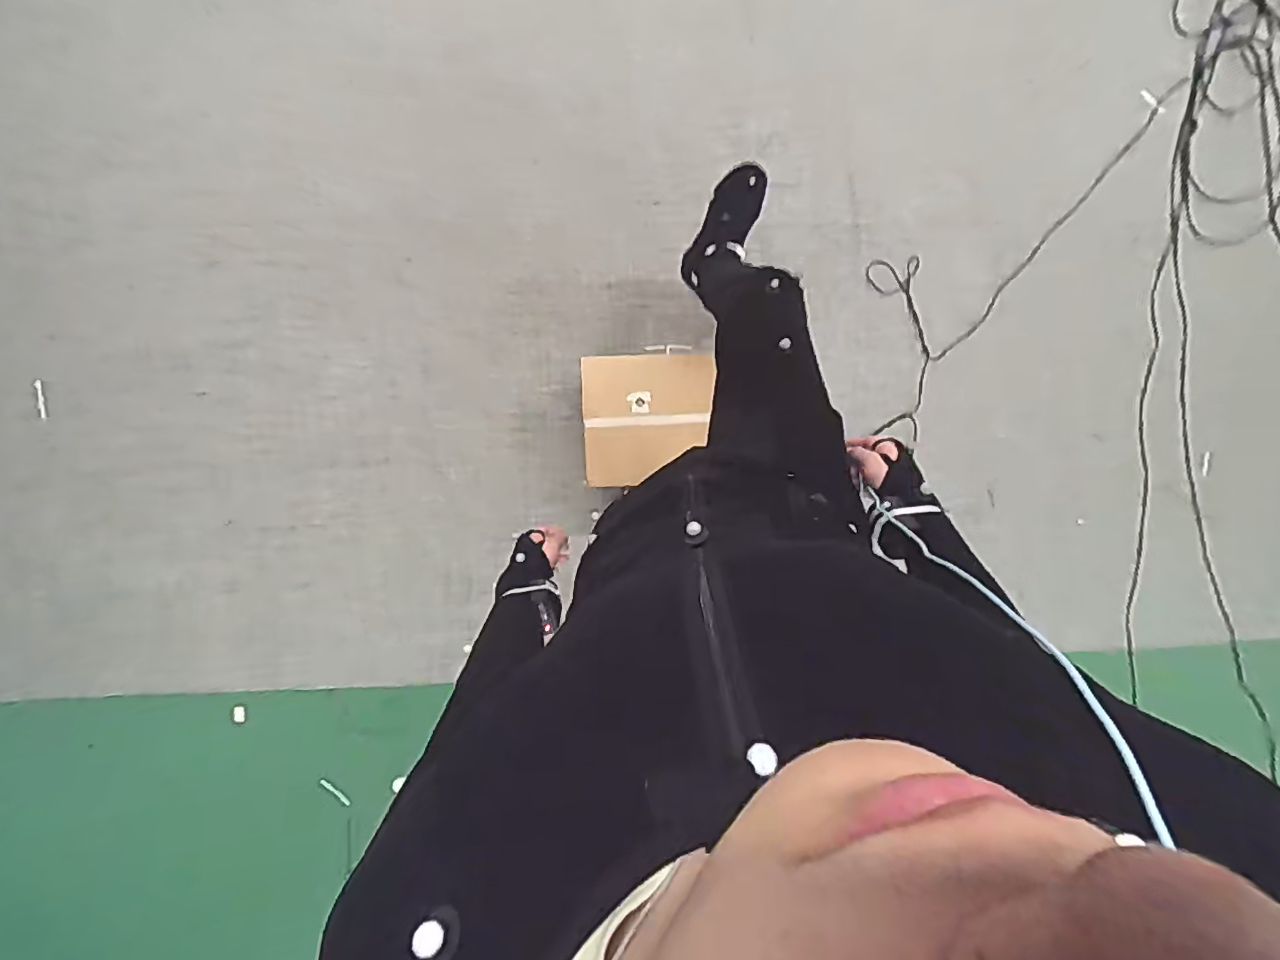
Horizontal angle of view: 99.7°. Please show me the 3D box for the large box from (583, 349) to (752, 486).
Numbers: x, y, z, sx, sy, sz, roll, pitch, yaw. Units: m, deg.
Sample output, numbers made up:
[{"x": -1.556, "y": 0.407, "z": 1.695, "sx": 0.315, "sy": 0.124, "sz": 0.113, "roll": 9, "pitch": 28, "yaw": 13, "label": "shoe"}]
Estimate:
[{"x": 0.066, "y": -0.168, "z": 1.453, "sx": 0.408, "sy": 0.320, "sz": 0.320, "roll": -3, "pitch": 96, "yaw": -2, "label": "large box"}]
